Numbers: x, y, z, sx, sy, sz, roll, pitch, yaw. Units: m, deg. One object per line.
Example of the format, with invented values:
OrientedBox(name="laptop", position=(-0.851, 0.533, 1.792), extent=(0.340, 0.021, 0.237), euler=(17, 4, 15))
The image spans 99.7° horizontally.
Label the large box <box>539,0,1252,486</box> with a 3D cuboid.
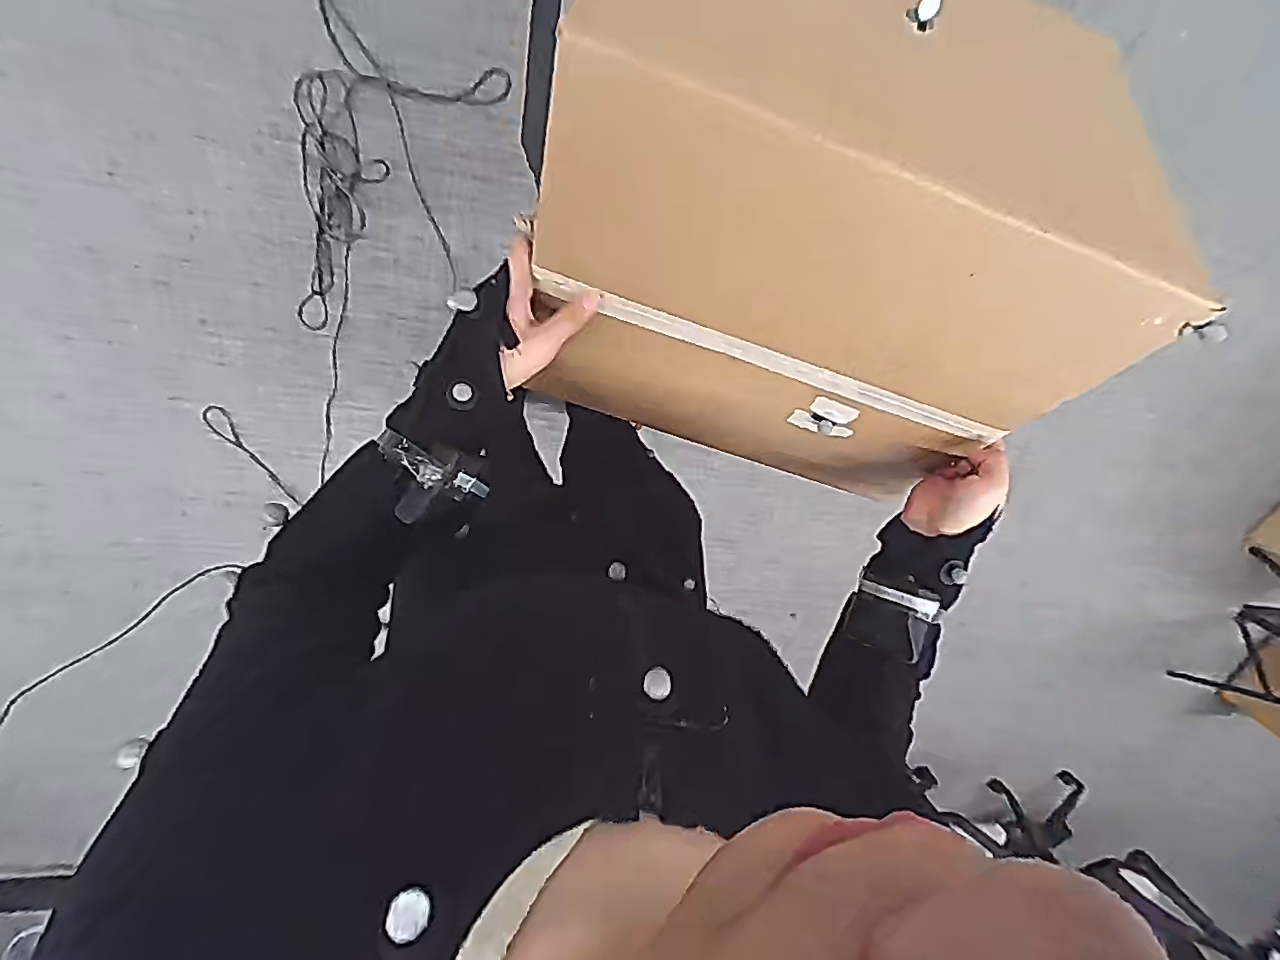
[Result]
OrientedBox(name="large box", position=(0.151, -0.240, 0.483), extent=(0.408, 0.320, 0.320), euler=(16, 153, -8))
